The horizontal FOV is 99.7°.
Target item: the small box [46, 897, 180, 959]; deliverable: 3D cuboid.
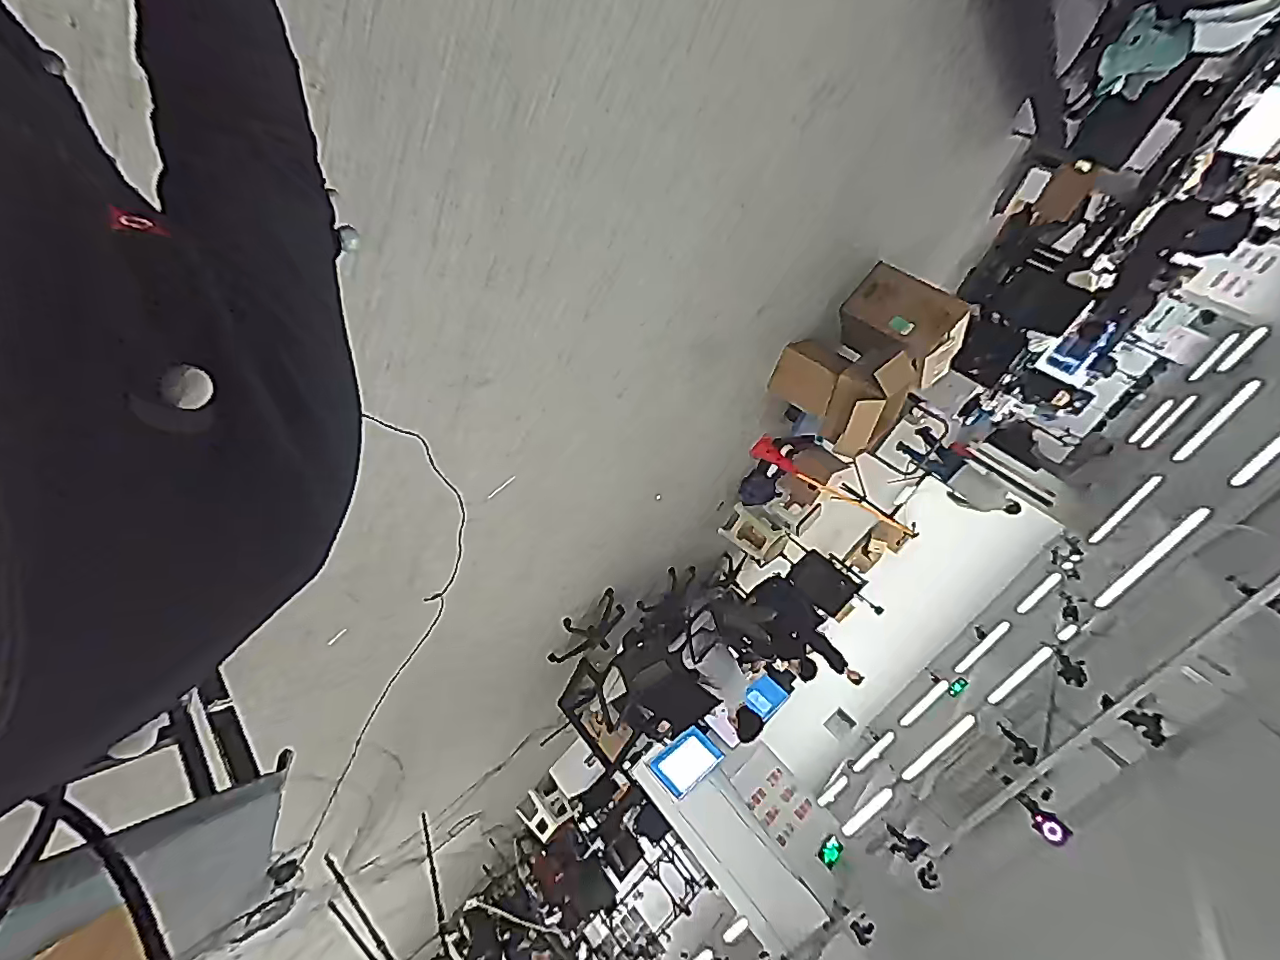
[{"bbox_3d":[-1.087,1.027,1.125,0.179,0.176,0.168,-18,139,-43],"label":"small box"}]
